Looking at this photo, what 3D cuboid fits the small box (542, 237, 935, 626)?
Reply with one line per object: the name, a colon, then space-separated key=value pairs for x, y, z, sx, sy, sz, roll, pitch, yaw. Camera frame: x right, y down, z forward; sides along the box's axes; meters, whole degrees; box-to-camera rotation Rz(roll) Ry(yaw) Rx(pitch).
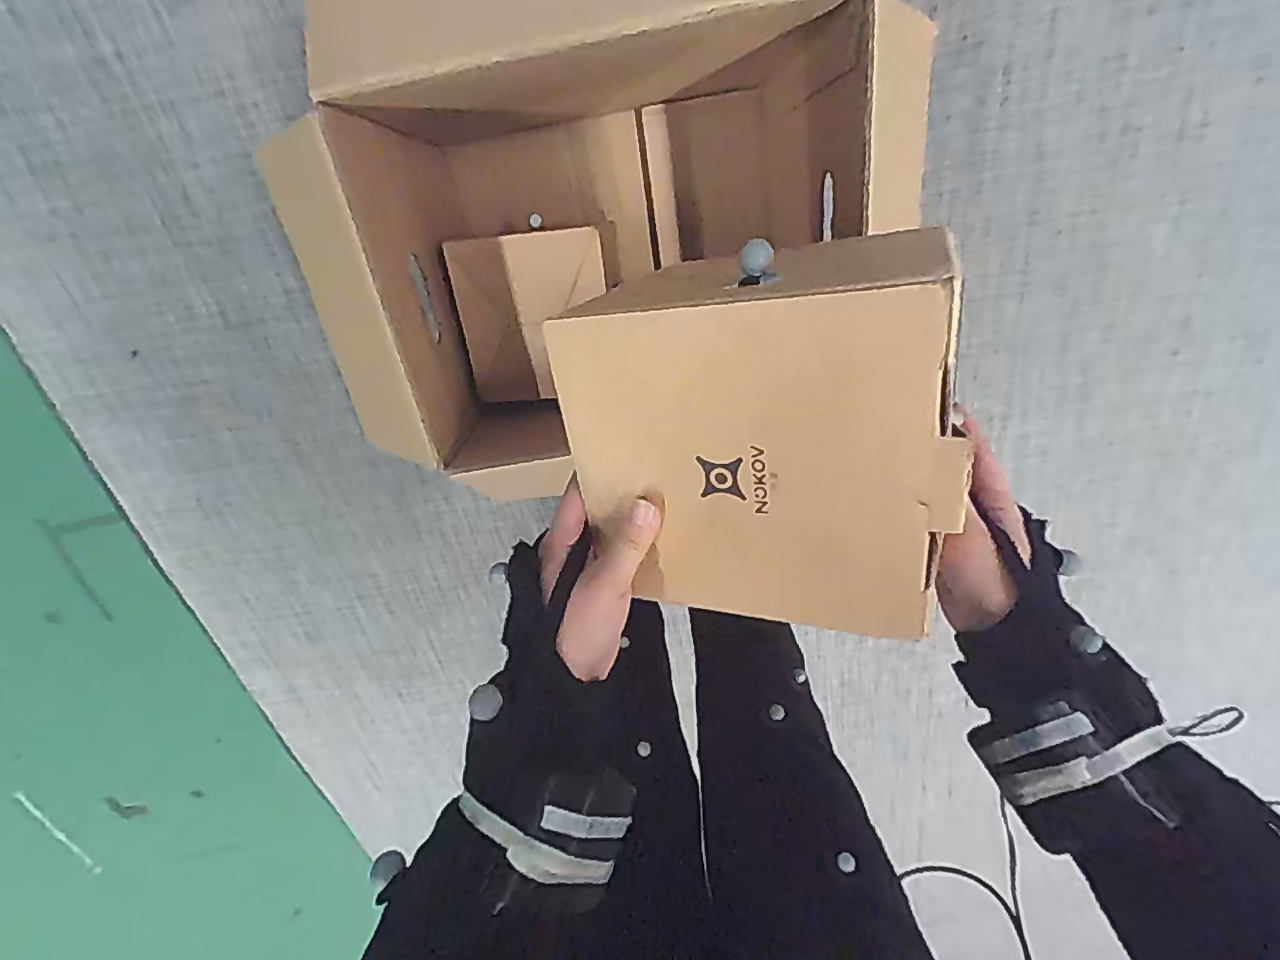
small box: x=0.072 y=-0.042 z=0.328 sx=0.179 sy=0.176 sz=0.168 roll=3 pitch=119 yaw=25
